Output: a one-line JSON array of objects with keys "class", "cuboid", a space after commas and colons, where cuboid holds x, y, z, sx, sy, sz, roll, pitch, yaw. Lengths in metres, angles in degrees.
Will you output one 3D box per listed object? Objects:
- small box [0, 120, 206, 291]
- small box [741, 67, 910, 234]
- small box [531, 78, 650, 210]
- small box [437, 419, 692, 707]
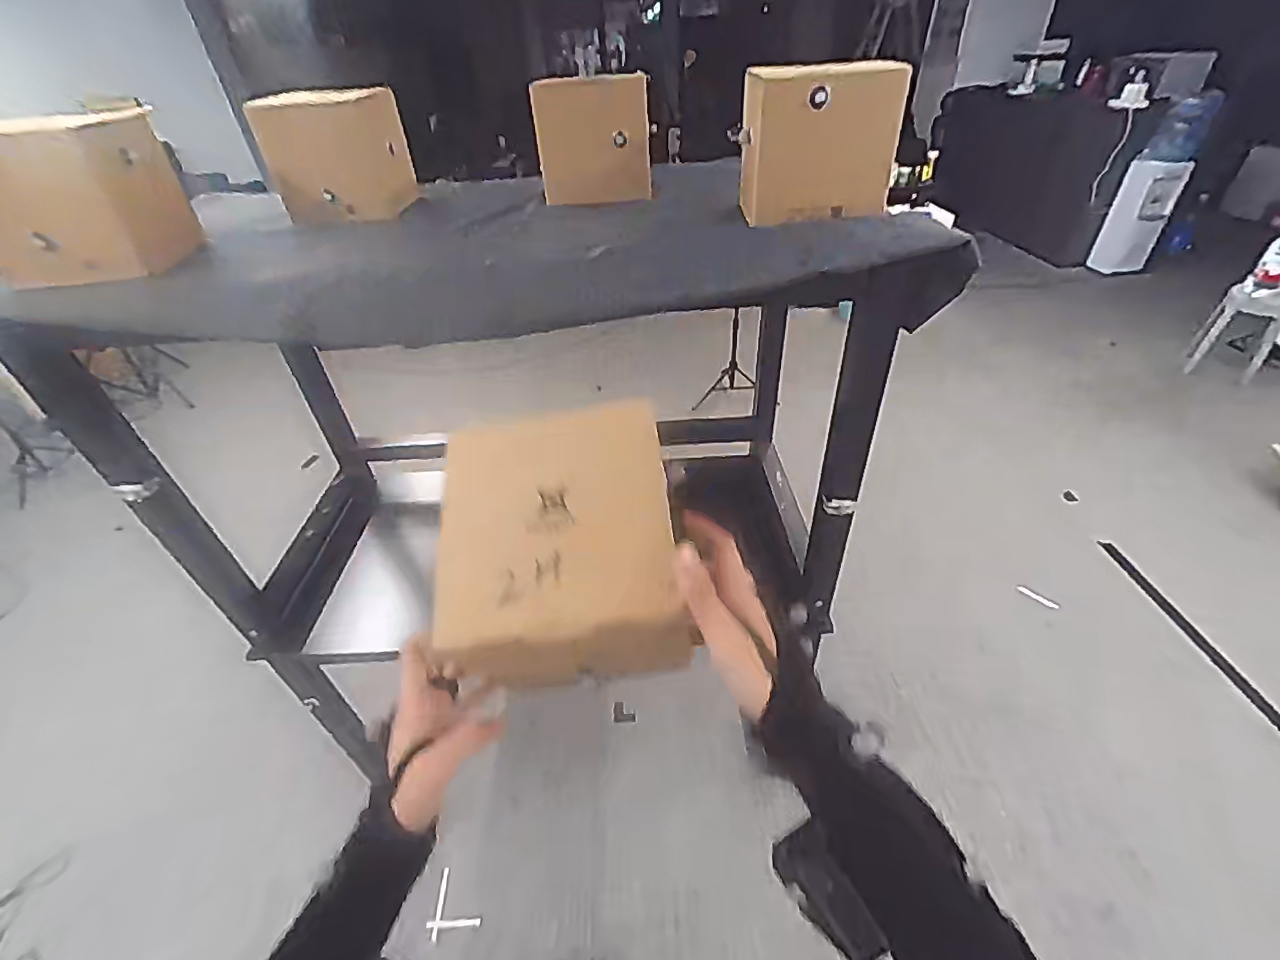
[{"class": "small box", "cuboid": [-0.725, -0.363, 0.712, 0.168, 0.176, 0.179, -8, 40, -7]}, {"class": "small box", "cuboid": [0.227, -0.435, 0.716, 0.168, 0.176, 0.179, -2, 38, 5]}, {"class": "small box", "cuboid": [-0.071, -0.566, 0.911, 0.179, 0.176, 0.168, -2, 38, 2]}, {"class": "small box", "cuboid": [-0.050, 0.076, 0.456, 0.168, 0.176, 0.179, -9, 58, 2]}]
